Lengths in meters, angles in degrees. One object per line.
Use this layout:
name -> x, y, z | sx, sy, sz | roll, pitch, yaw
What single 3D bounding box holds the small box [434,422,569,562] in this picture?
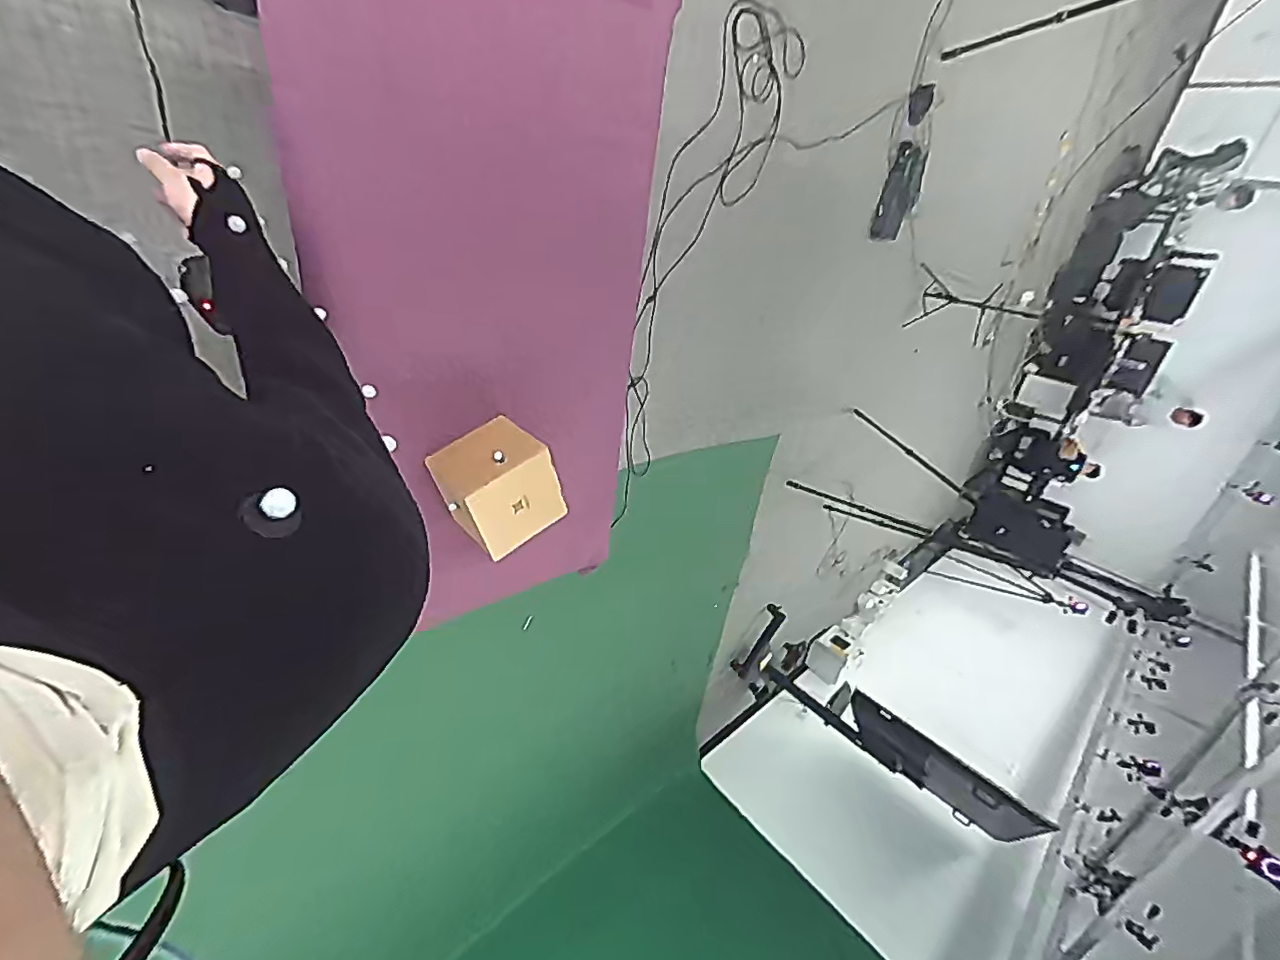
small box -> -0.268, 0.017, 1.033 | 0.179, 0.176, 0.168 | -35, 136, -26
